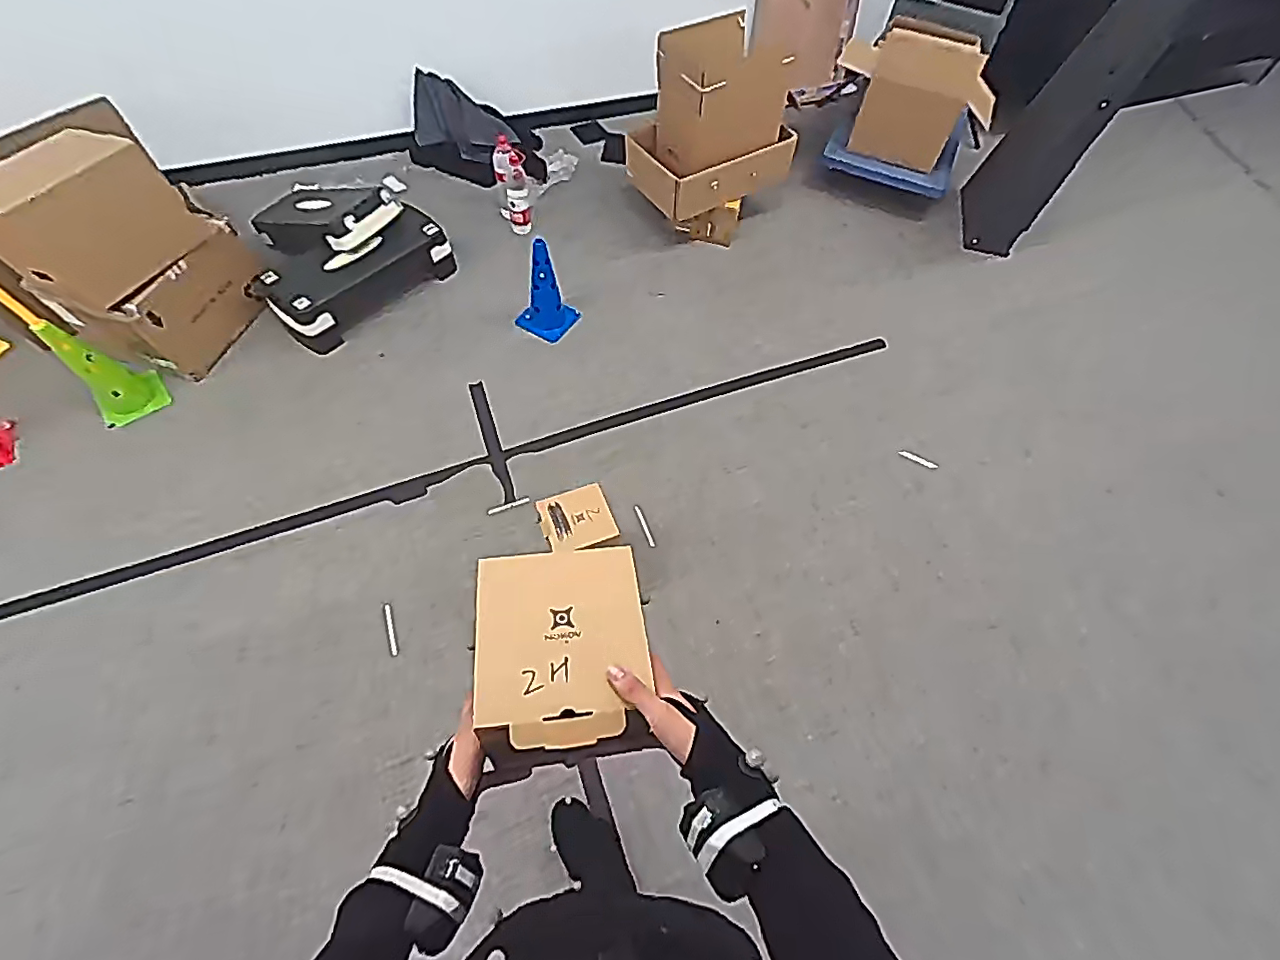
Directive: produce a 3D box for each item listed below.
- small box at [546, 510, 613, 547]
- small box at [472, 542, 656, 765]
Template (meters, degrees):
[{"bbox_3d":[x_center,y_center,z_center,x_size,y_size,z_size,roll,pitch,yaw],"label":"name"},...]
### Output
[{"bbox_3d":[-0.163,0.222,1.588,0.168,0.176,0.179,-21,63,-14],"label":"small box"},{"bbox_3d":[-0.083,0.189,0.590,0.168,0.176,0.179,-4,51,-9],"label":"small box"}]
